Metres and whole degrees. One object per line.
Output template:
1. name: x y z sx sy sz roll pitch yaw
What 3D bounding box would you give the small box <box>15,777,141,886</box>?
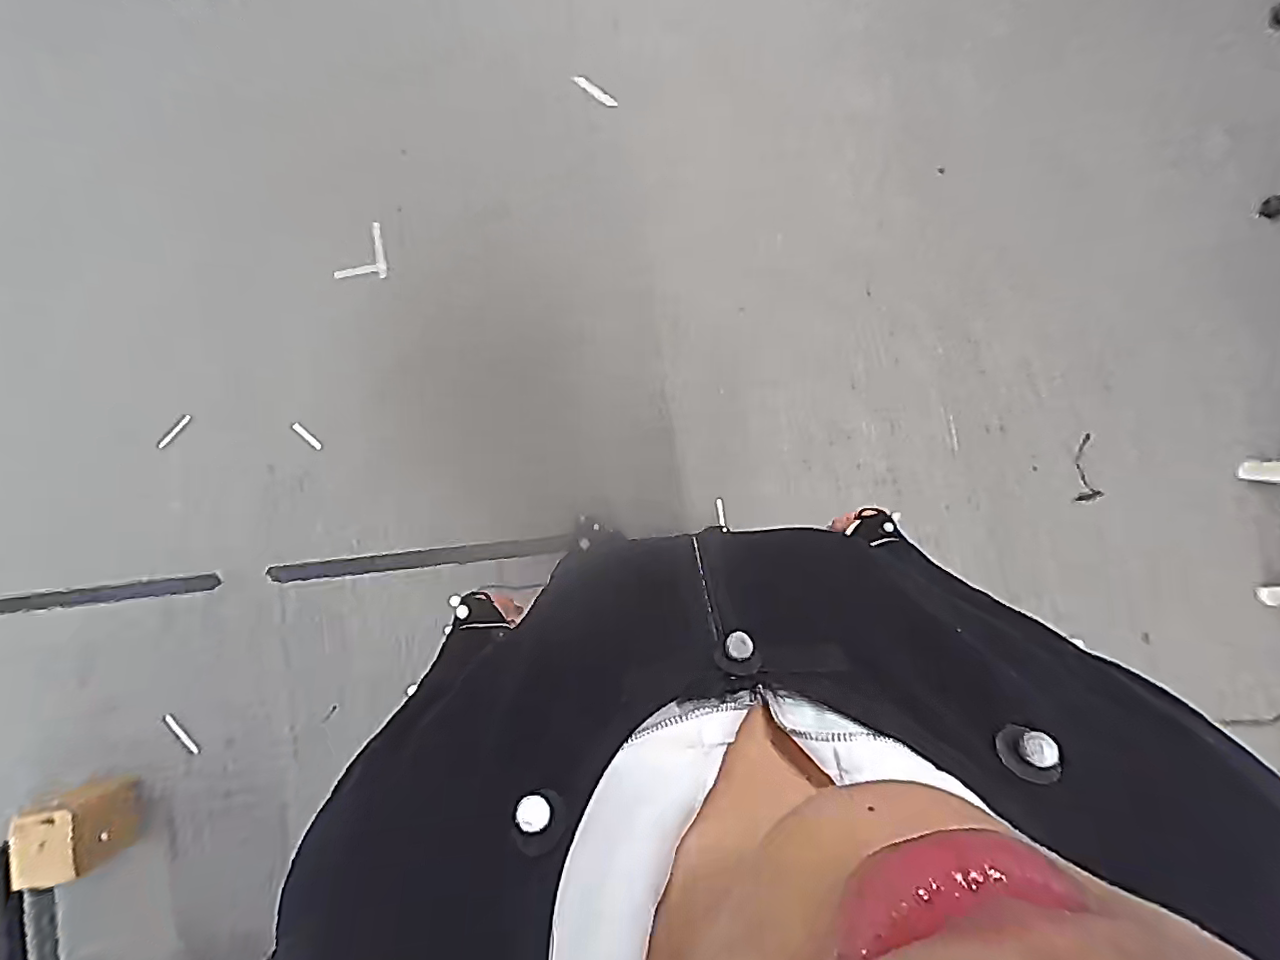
1. small box: -1.480 0.925 1.435 0.168 0.176 0.179 -8 87 1
